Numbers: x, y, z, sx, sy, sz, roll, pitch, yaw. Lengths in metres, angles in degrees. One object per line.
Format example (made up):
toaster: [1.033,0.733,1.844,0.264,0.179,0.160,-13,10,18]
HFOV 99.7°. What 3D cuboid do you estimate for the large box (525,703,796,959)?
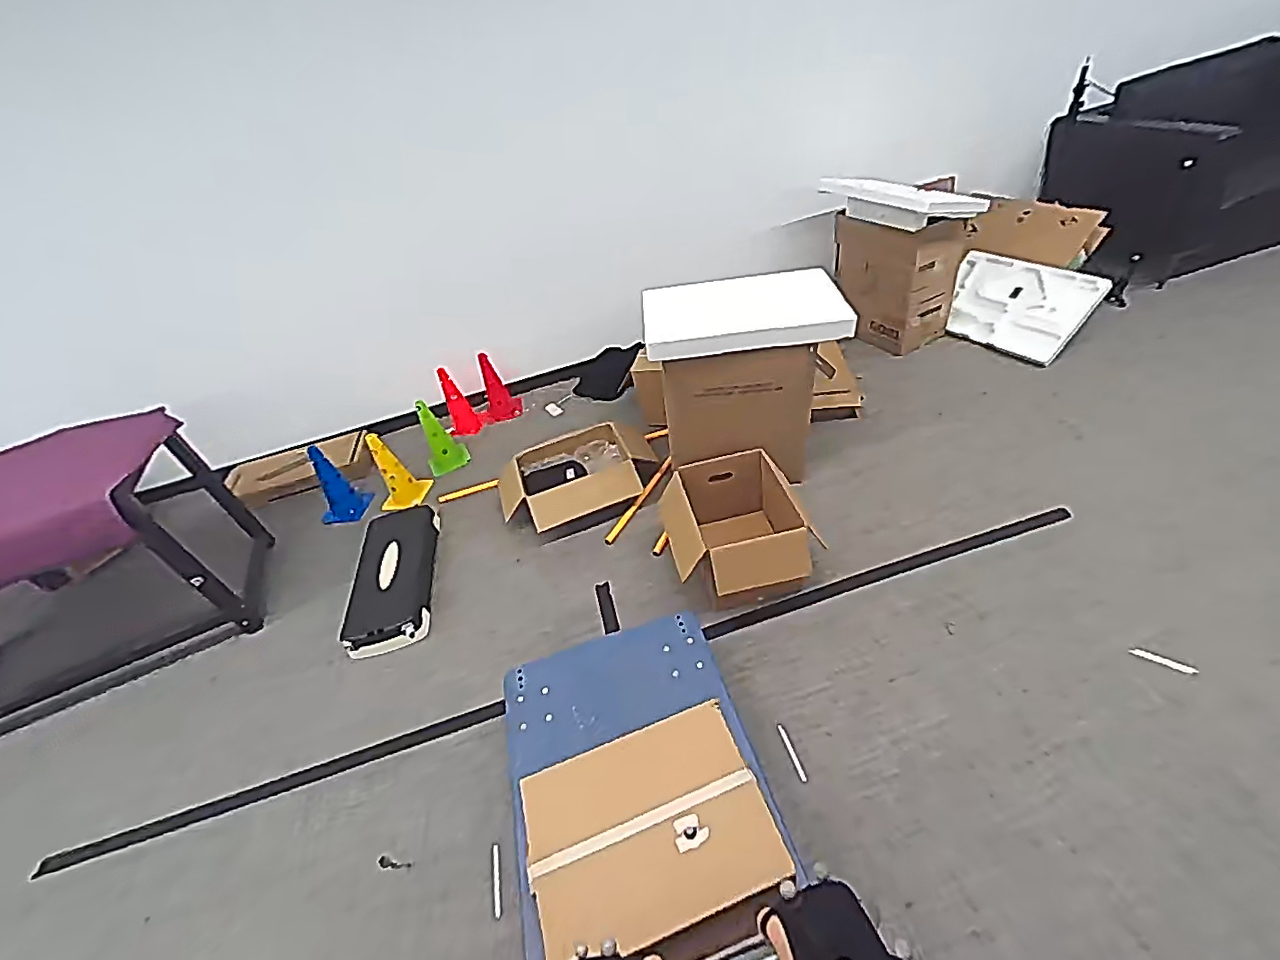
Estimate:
large box: [0.037,0.709,1.025,0.408,0.320,0.320,-19,40,-9]
